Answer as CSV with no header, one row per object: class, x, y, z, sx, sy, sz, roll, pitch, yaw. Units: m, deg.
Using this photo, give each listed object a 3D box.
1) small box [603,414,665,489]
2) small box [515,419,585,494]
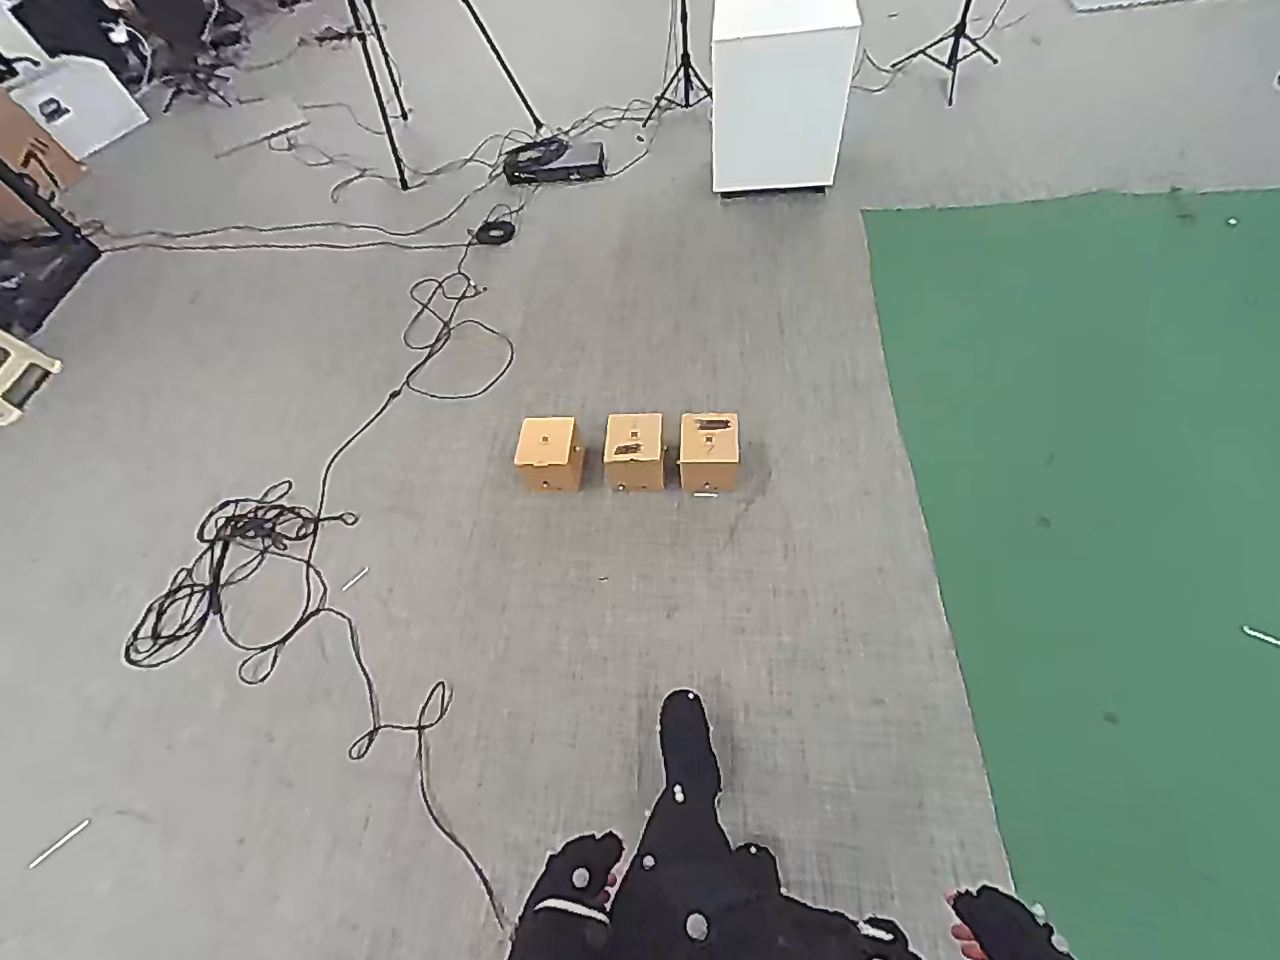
small box,-0.012,-0.082,1.669,0.168,0.176,0.179,-1,57,8
small box,-0.276,-0.073,1.706,0.168,0.176,0.179,-1,58,8
